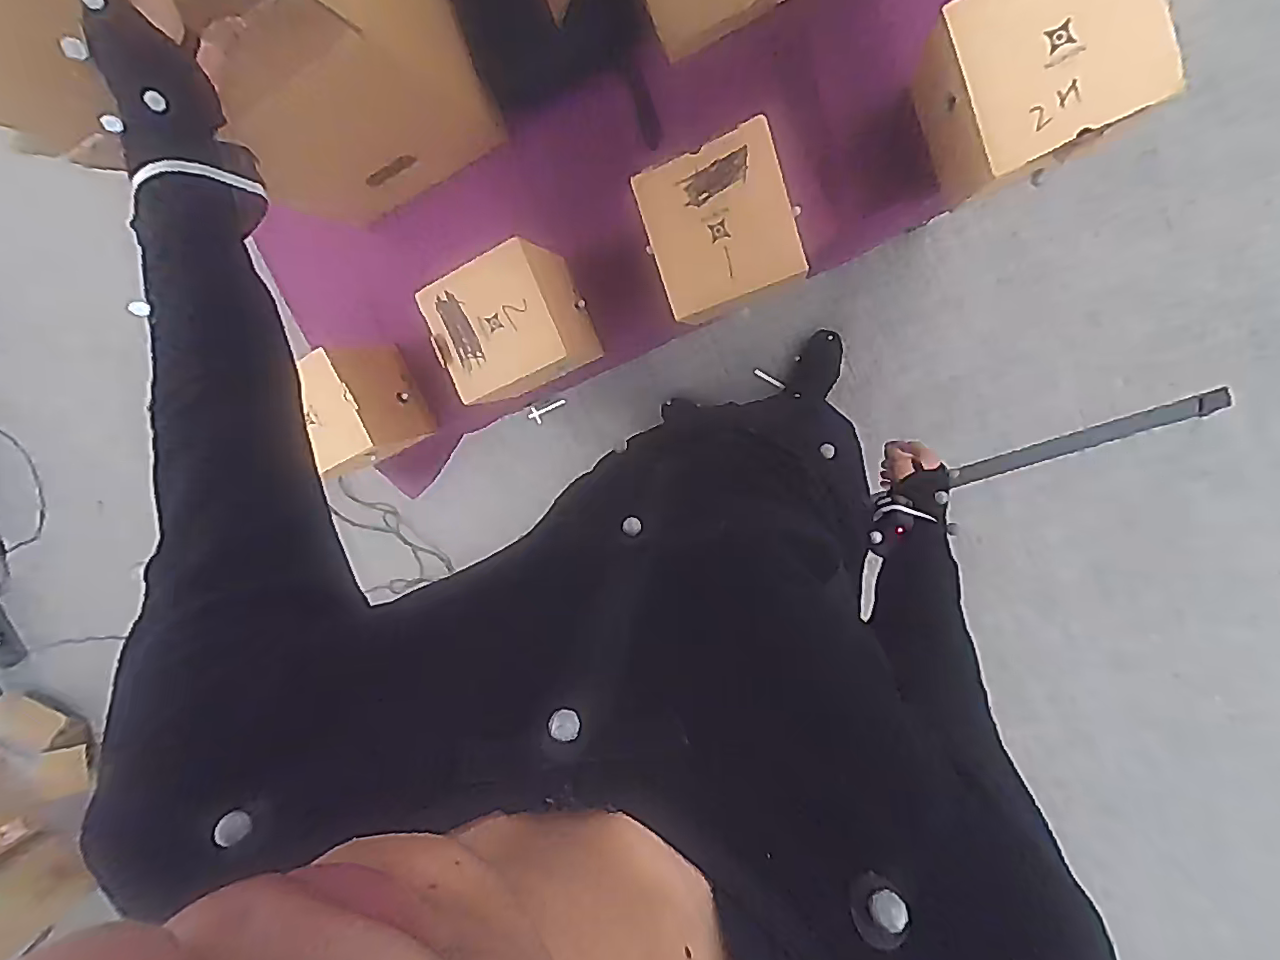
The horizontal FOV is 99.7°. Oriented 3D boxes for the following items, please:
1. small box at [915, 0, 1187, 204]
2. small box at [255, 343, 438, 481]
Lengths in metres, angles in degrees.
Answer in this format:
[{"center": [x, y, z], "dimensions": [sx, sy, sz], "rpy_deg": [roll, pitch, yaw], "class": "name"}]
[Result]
[{"center": [0.423, -0.437, 0.590], "dimensions": [0.168, 0.176, 0.179], "rpy_deg": [-20, 98, 20], "class": "small box"}, {"center": [-0.483, -0.117, 0.912], "dimensions": [0.179, 0.176, 0.168], "rpy_deg": [-23, 97, 17], "class": "small box"}]
